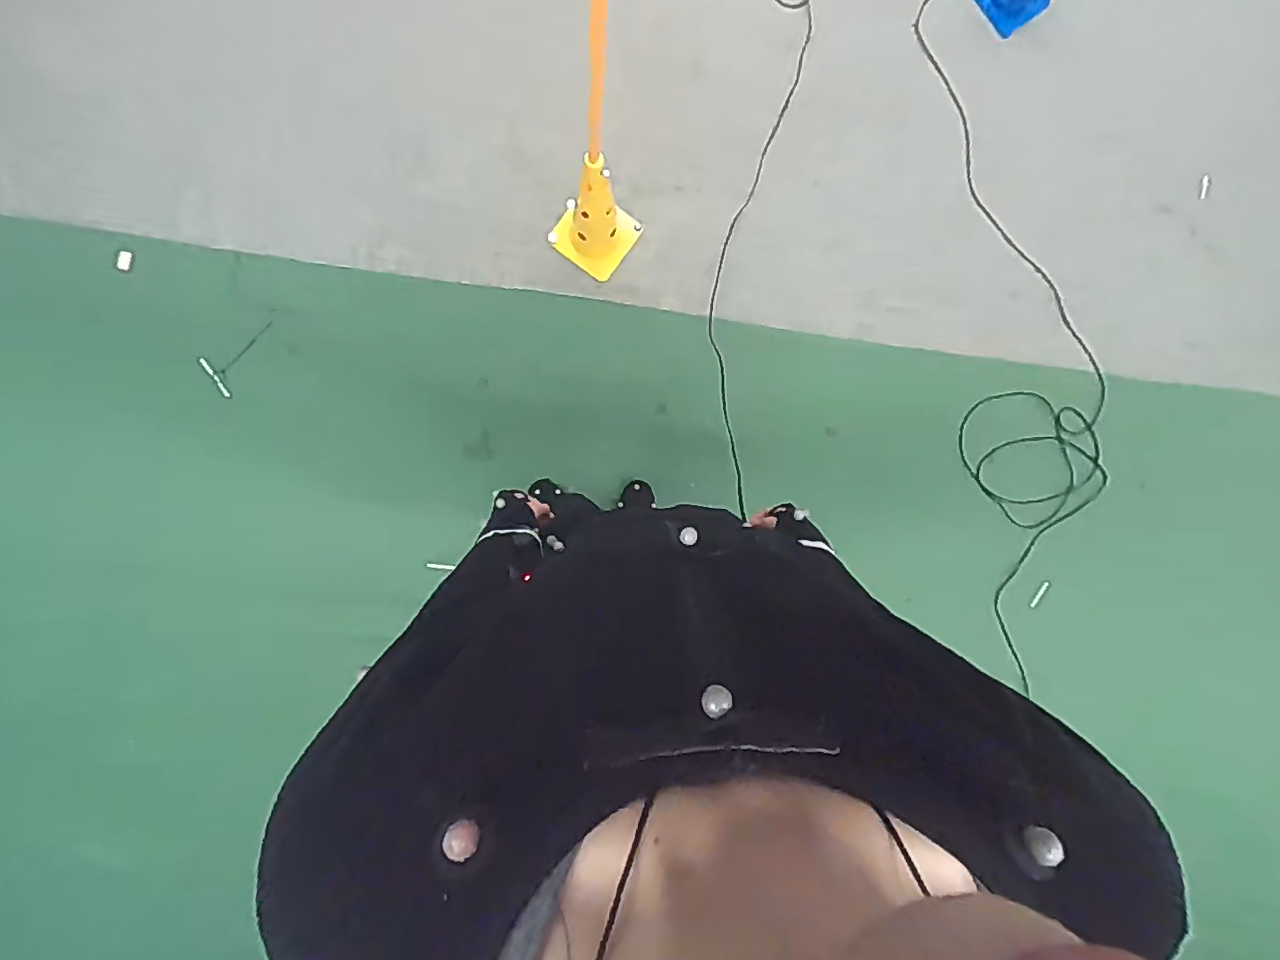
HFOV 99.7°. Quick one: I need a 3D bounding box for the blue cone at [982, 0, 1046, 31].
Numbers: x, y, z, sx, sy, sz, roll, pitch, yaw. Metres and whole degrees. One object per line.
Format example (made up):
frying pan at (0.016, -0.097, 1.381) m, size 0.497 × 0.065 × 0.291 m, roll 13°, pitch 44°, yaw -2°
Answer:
blue cone at (1.107, -1.447, 1.427) m, size 0.193 × 0.380 × 0.192 m, roll -39°, pitch 91°, yaw -6°
